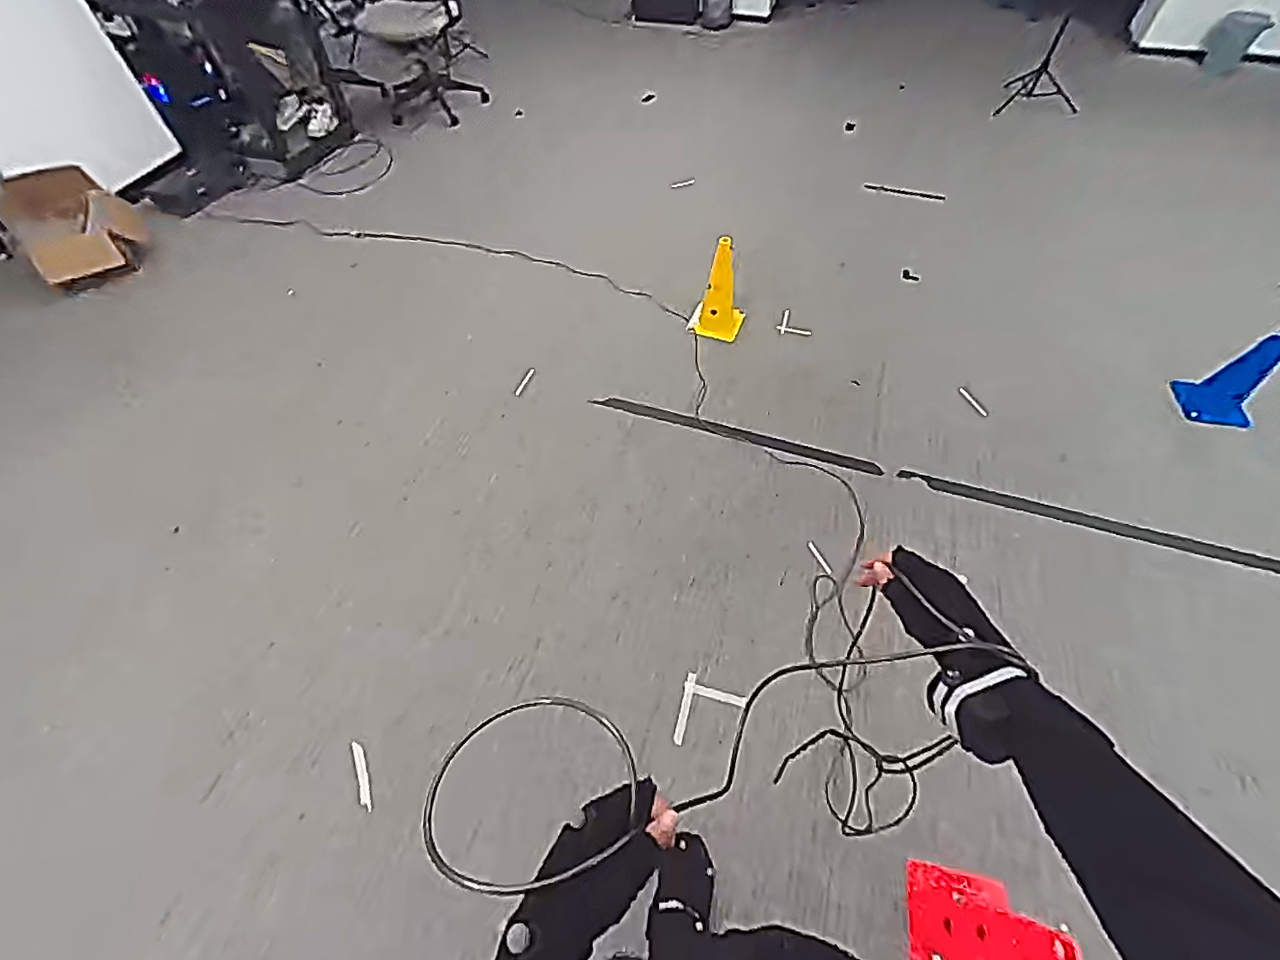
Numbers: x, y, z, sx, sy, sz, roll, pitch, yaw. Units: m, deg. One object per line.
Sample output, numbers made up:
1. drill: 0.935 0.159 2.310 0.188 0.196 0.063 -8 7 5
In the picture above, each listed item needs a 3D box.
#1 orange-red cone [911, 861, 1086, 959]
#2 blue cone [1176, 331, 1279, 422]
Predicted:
1. orange-red cone: 0.647 0.805 0.944 0.199 0.360 0.198 12 56 8
2. blue cone: 1.984 -0.378 1.746 0.193 0.380 0.192 10 56 9
